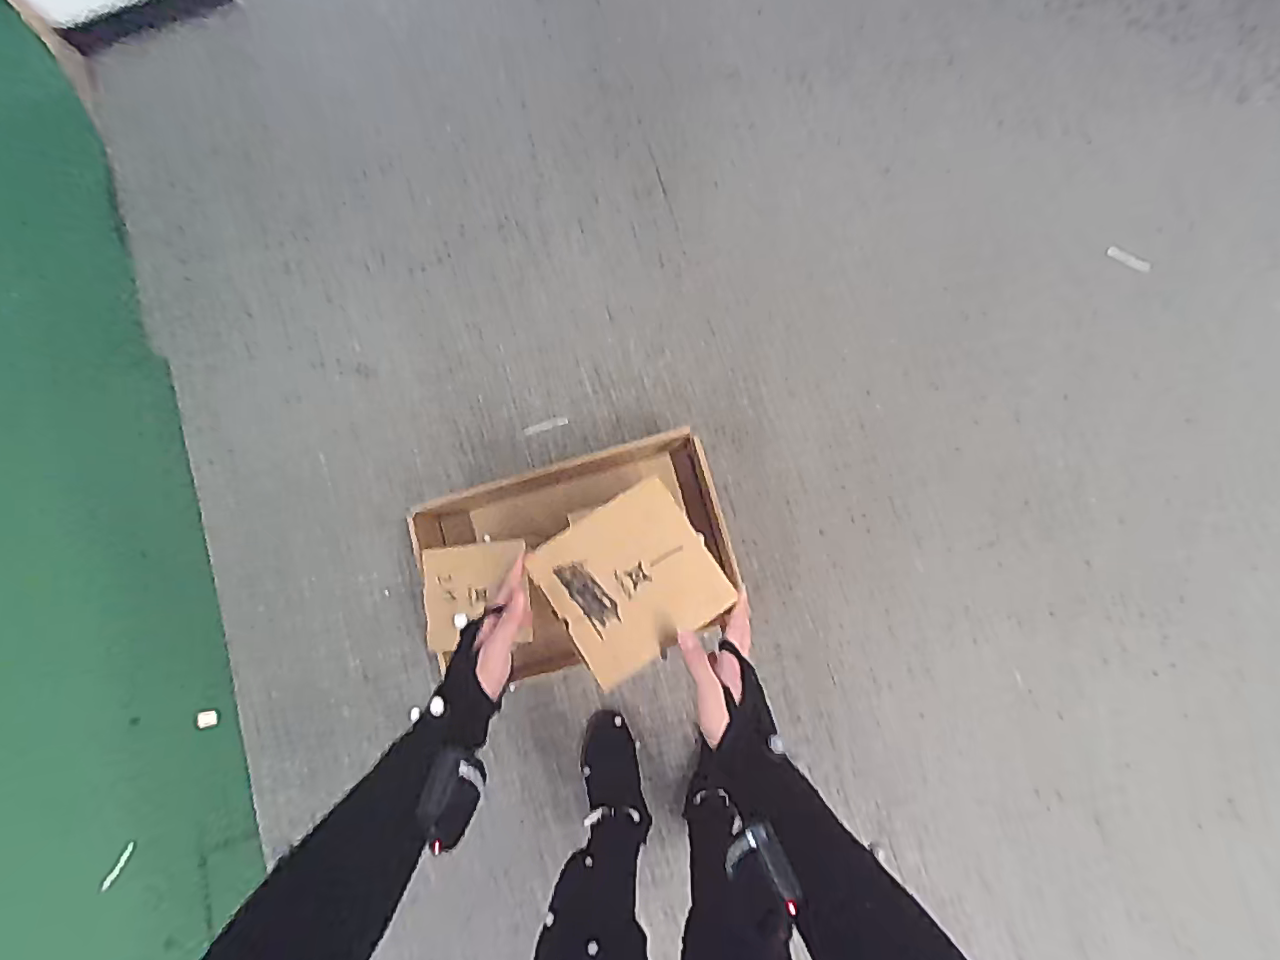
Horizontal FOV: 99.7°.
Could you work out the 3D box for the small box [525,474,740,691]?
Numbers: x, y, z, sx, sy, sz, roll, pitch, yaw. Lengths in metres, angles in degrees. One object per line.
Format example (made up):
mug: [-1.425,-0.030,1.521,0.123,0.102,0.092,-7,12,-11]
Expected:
small box: [-0.007,0.120,0.649,0.179,0.176,0.168,-34,81,-6]
